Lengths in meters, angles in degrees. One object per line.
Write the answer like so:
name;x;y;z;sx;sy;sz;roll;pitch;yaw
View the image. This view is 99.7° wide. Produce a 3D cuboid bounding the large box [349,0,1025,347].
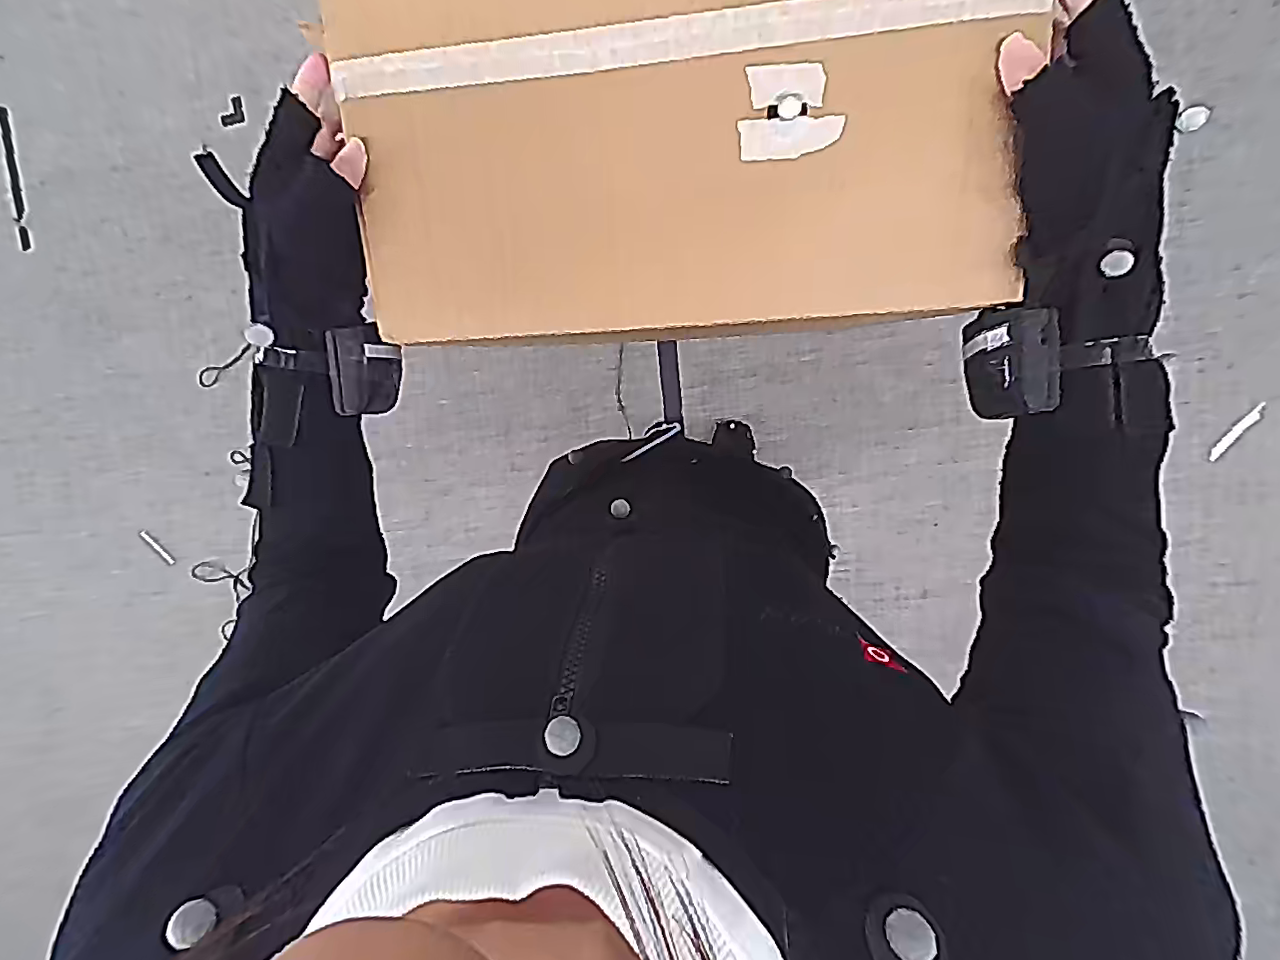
large box;0.031;-0.290;0.468;0.408;0.320;0.320;-3;104;5
